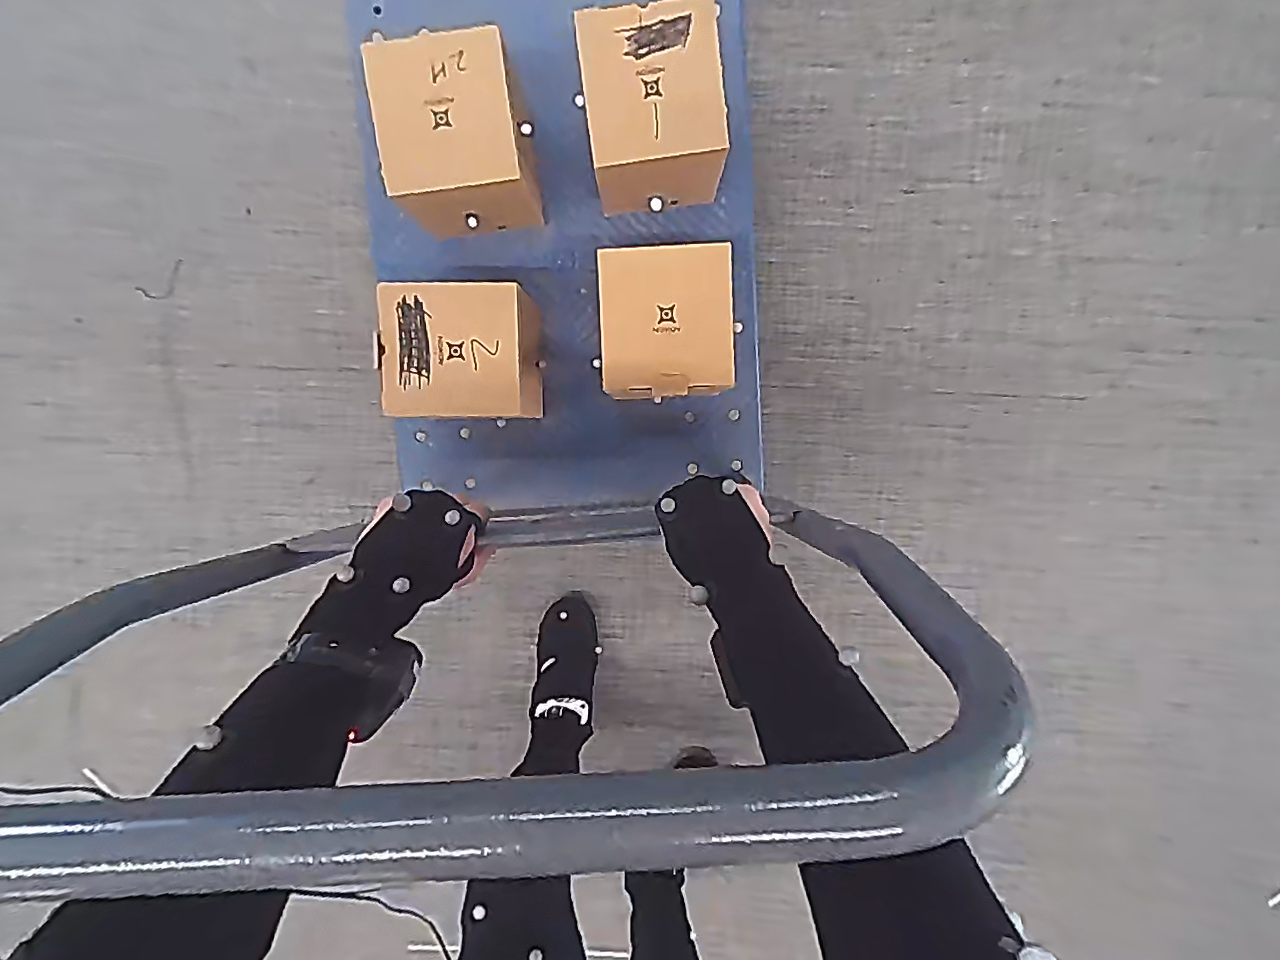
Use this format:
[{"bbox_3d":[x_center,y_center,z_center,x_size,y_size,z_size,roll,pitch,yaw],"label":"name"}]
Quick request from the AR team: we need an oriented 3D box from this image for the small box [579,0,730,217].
[{"bbox_3d":[0.018,-0.475,0.713,0.168,0.176,0.179,-7,97,2],"label":"small box"}]

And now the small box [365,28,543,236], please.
[{"bbox_3d":[-0.232,-0.442,0.720,0.168,0.176,0.179,-7,96,1],"label":"small box"}]

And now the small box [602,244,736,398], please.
[{"bbox_3d":[0.036,-0.207,0.744,0.168,0.176,0.179,-2,97,1],"label":"small box"}]
